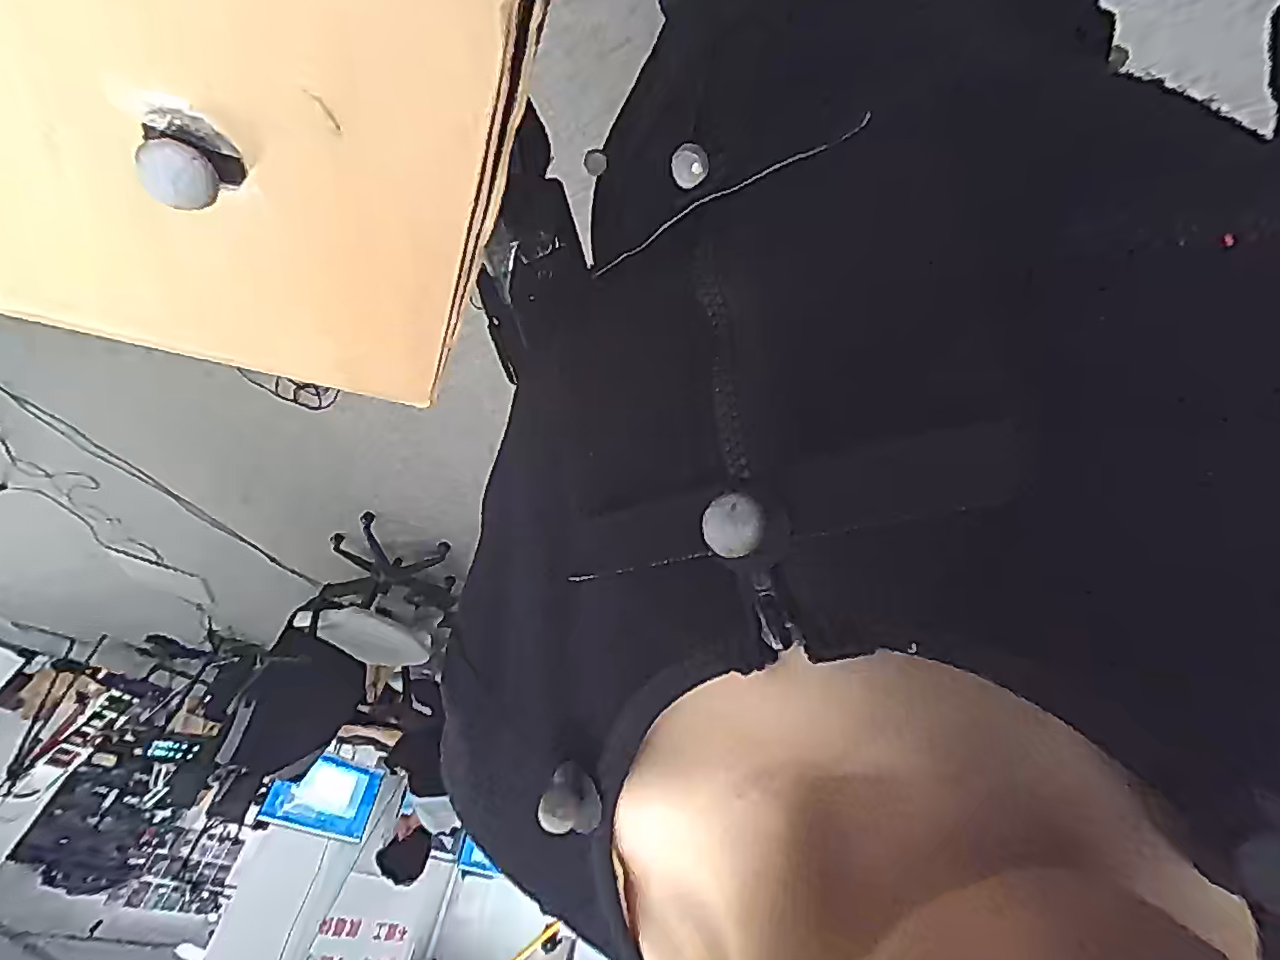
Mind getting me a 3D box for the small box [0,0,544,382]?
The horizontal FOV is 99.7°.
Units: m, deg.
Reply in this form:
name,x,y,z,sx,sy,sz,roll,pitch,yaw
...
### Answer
name,x,y,z,sx,sy,sz,roll,pitch,yaw
small box,-0.128,-0.161,0.179,0.176,0.168,0.179,12,154,-22
